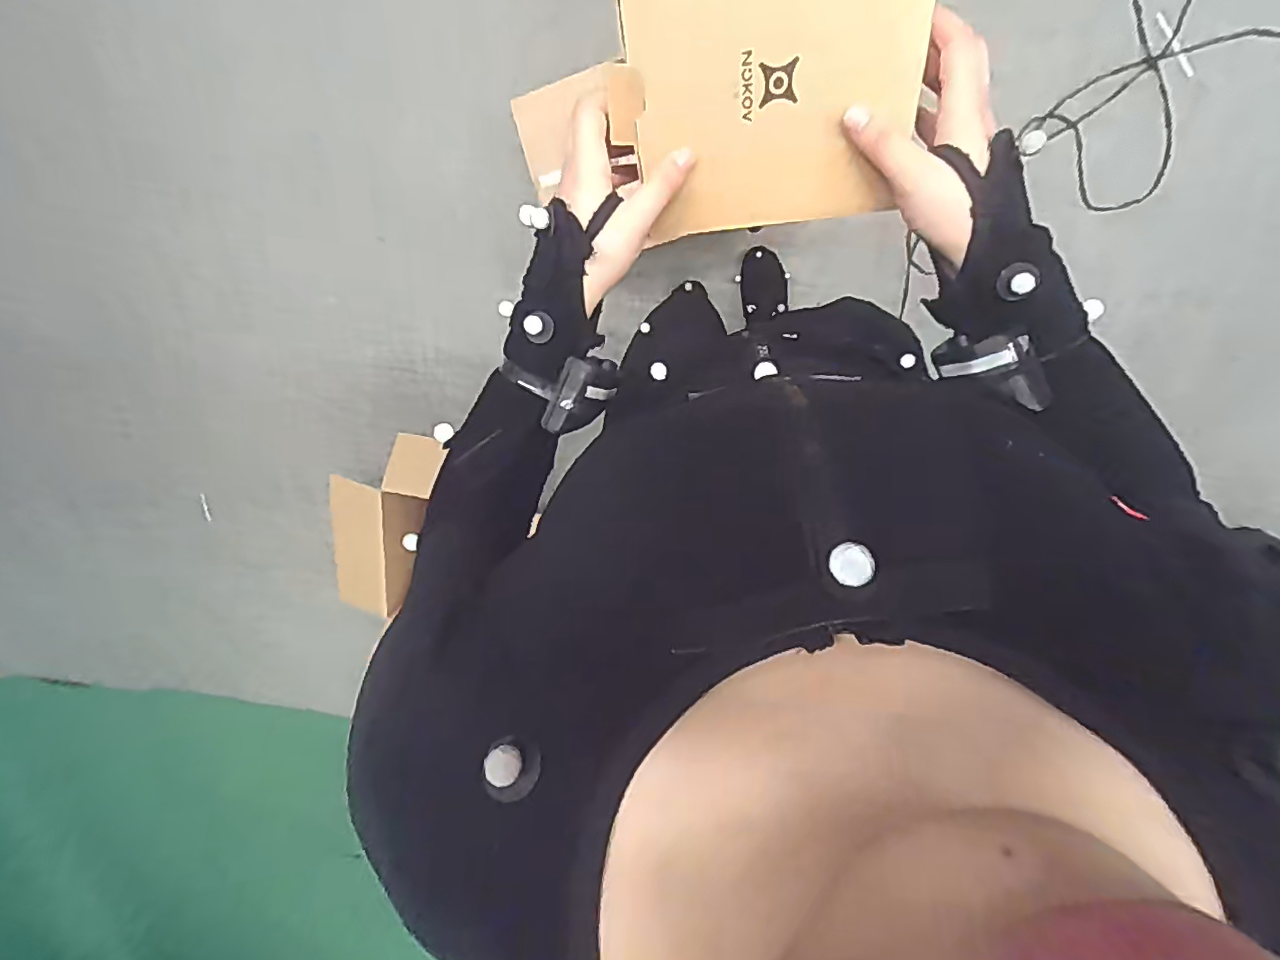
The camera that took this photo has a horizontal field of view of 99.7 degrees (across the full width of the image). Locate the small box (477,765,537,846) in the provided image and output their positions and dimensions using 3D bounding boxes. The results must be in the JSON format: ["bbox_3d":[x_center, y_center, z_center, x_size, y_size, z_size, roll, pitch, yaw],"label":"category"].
[{"bbox_3d":[-0.484,1.194,1.989,0.168,0.176,0.179,6,112,8],"label":"small box"}]

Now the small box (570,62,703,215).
[{"bbox_3d":[0.005,-0.561,0.916,0.179,0.176,0.168,-11,112,13],"label":"small box"}]
